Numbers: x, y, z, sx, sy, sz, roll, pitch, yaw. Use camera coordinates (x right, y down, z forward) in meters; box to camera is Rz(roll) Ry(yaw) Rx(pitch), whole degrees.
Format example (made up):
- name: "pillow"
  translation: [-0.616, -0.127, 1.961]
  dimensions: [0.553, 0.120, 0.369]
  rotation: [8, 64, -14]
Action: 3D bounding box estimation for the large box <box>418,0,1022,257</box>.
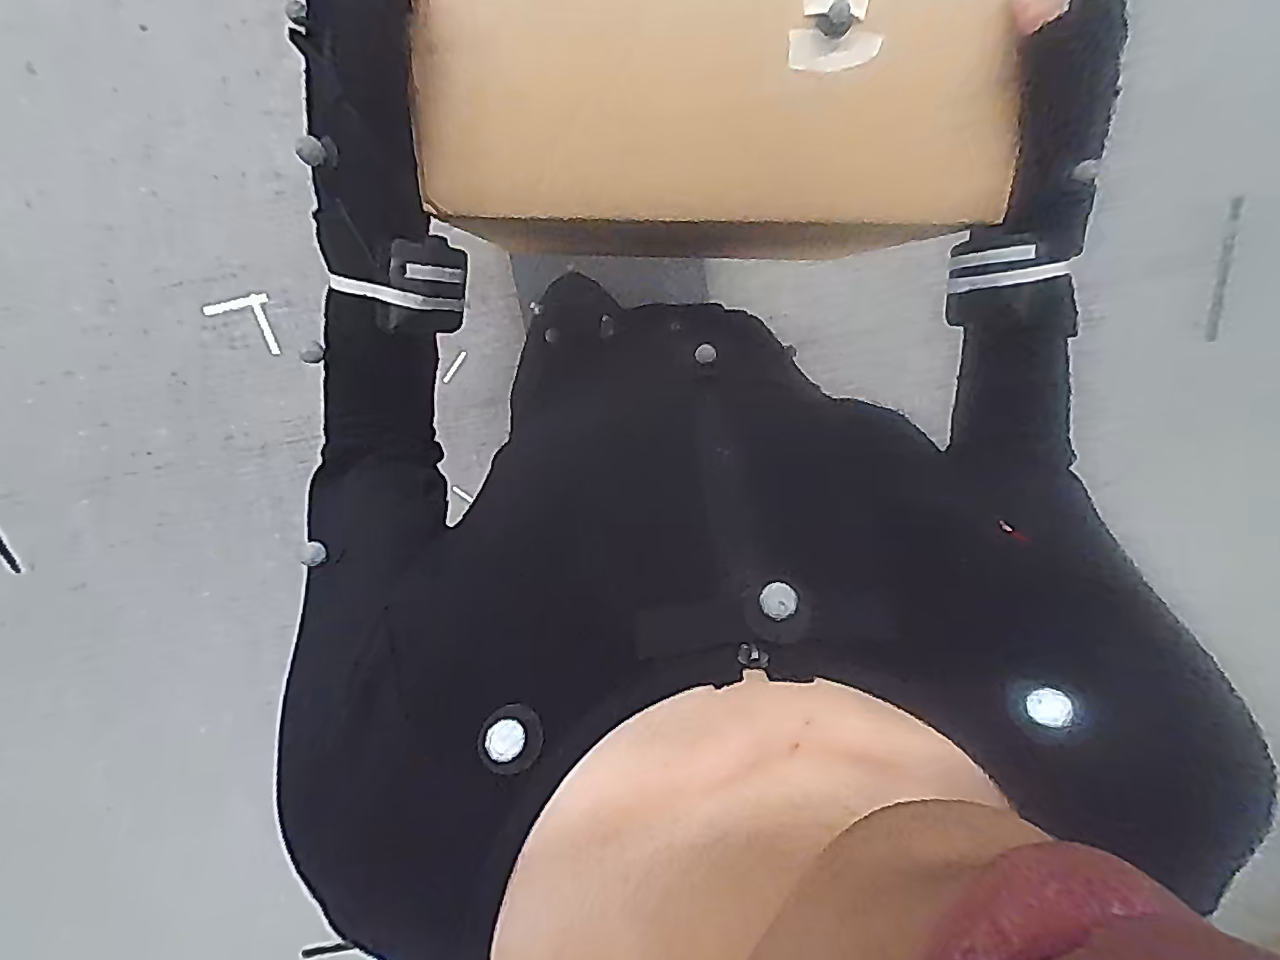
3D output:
- name: "large box"
  translation: [0.047, -0.384, 0.484]
  dimensions: [0.408, 0.320, 0.320]
  rotation: [-1, 108, -3]
